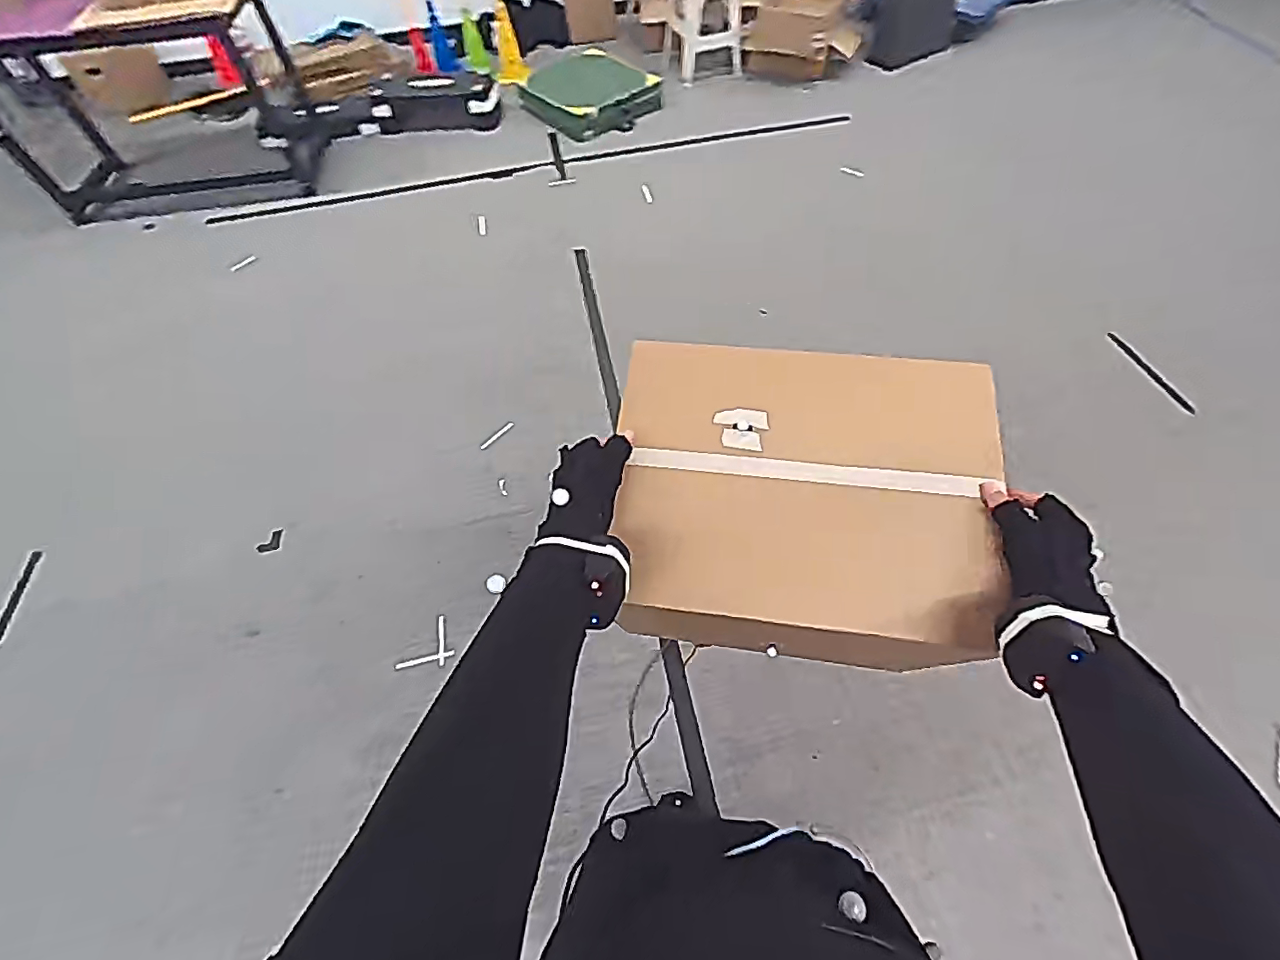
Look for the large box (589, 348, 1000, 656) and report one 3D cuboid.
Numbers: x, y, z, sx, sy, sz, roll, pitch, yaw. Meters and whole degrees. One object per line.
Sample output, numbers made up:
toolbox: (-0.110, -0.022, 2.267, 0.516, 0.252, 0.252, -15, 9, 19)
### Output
large box: (0.177, 0.048, 0.722, 0.408, 0.320, 0.320, 5, 68, 9)
